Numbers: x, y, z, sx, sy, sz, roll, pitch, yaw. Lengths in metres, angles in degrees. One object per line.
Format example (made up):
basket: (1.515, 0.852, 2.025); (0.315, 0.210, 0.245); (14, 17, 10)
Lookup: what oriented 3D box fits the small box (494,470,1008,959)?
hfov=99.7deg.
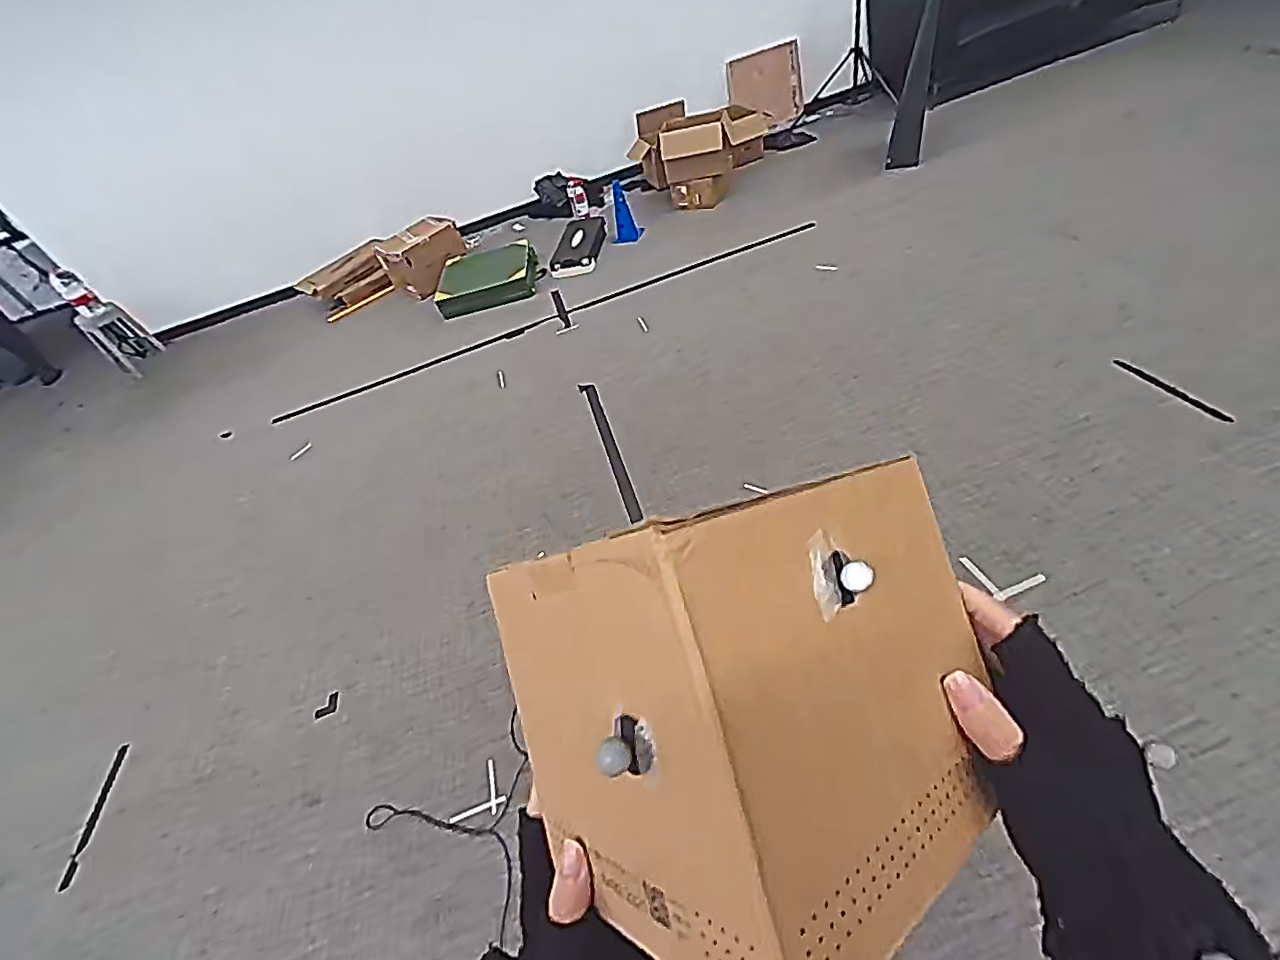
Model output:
small box: (0.051, 0.107, 0.279); (0.179, 0.176, 0.168); (-11, -7, -36)
